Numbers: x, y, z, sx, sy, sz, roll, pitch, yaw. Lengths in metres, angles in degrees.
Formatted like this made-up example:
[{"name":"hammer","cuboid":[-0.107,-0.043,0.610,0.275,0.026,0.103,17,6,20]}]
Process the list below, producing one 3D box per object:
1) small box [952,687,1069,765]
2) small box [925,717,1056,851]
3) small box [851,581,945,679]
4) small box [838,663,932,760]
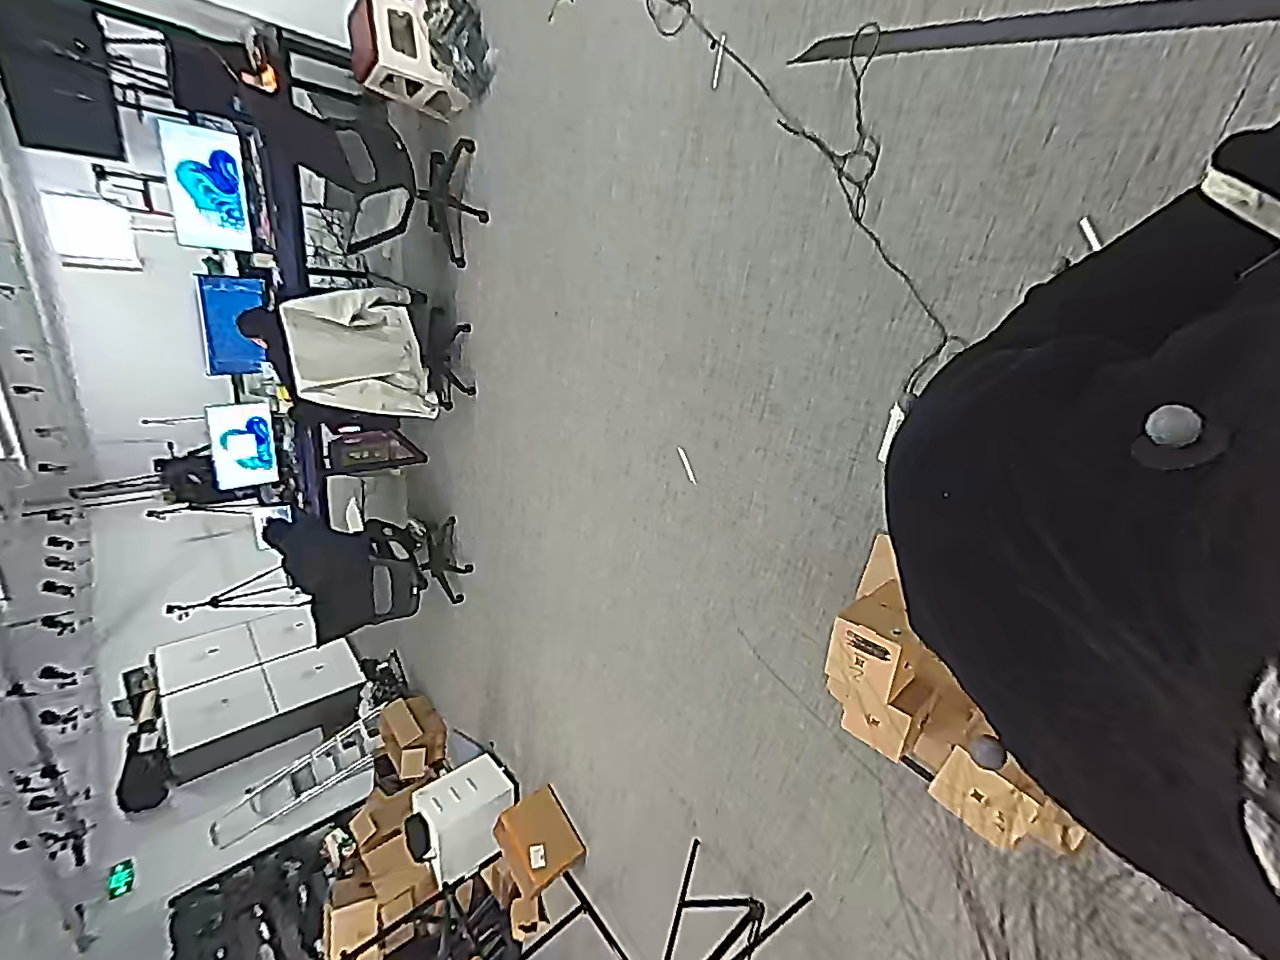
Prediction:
[{"name":"small box","cuboid":[0.907,0.638,1.329,0.179,0.176,0.168,32,122,37]},{"name":"small box","cuboid":[0.788,0.669,1.218,0.179,0.176,0.168,33,123,36]},{"name":"small box","cuboid":[0.710,0.402,1.483,0.168,0.176,0.179,24,117,42]},{"name":"small box","cuboid":[0.705,0.653,1.557,0.179,0.176,0.168,24,118,41]}]
